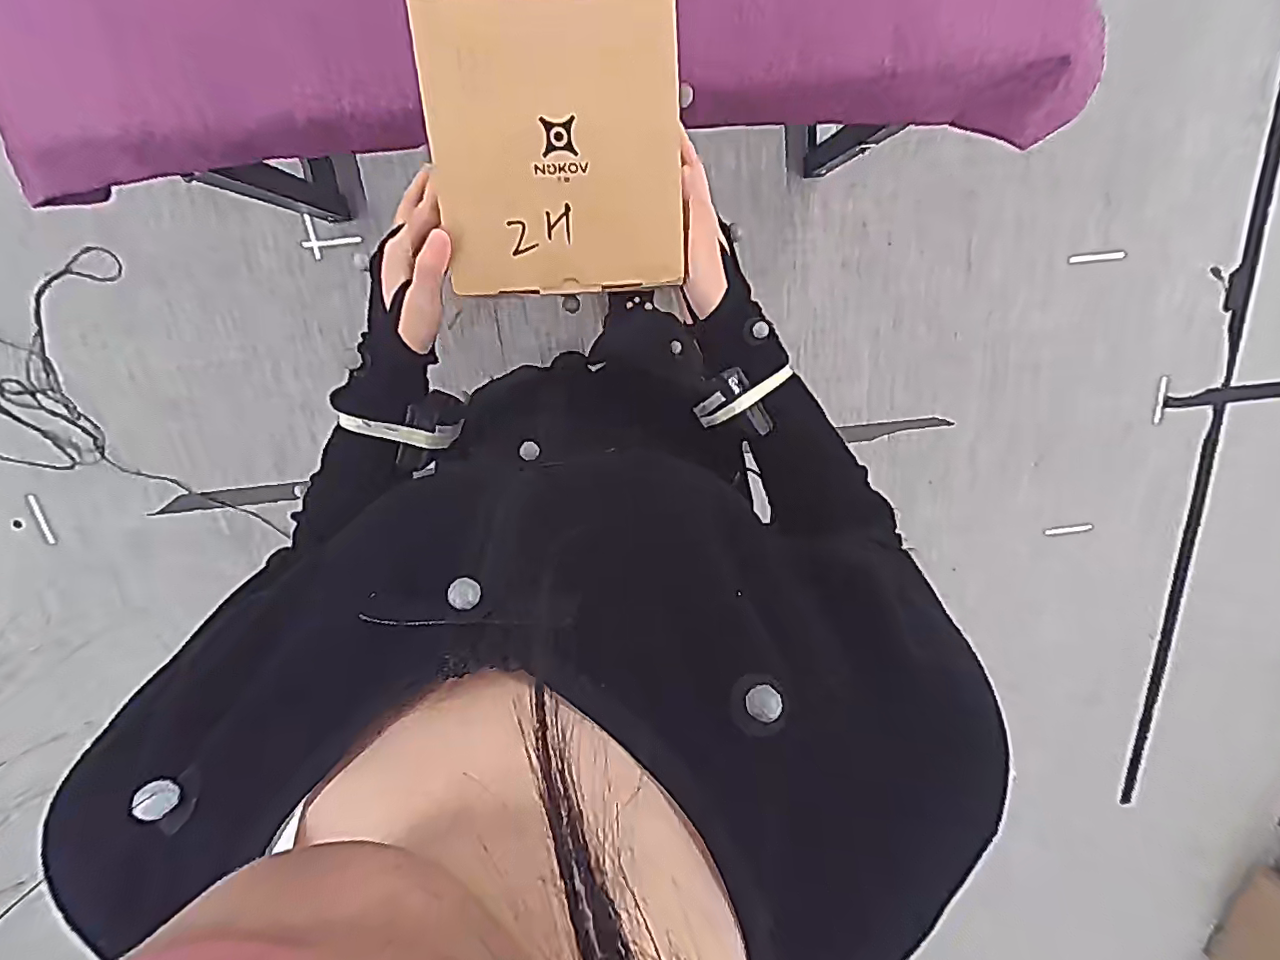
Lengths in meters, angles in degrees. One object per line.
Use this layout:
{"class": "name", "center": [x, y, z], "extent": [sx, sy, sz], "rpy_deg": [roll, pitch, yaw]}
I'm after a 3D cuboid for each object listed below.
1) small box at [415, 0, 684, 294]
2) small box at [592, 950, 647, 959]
{"class": "small box", "center": [-0.062, -0.247, 0.430], "extent": [0.168, 0.176, 0.179], "rpy_deg": [-5, 108, -5]}
{"class": "small box", "center": [-0.054, 1.554, 1.616], "extent": [0.179, 0.176, 0.168], "rpy_deg": [-8, 107, -2]}
